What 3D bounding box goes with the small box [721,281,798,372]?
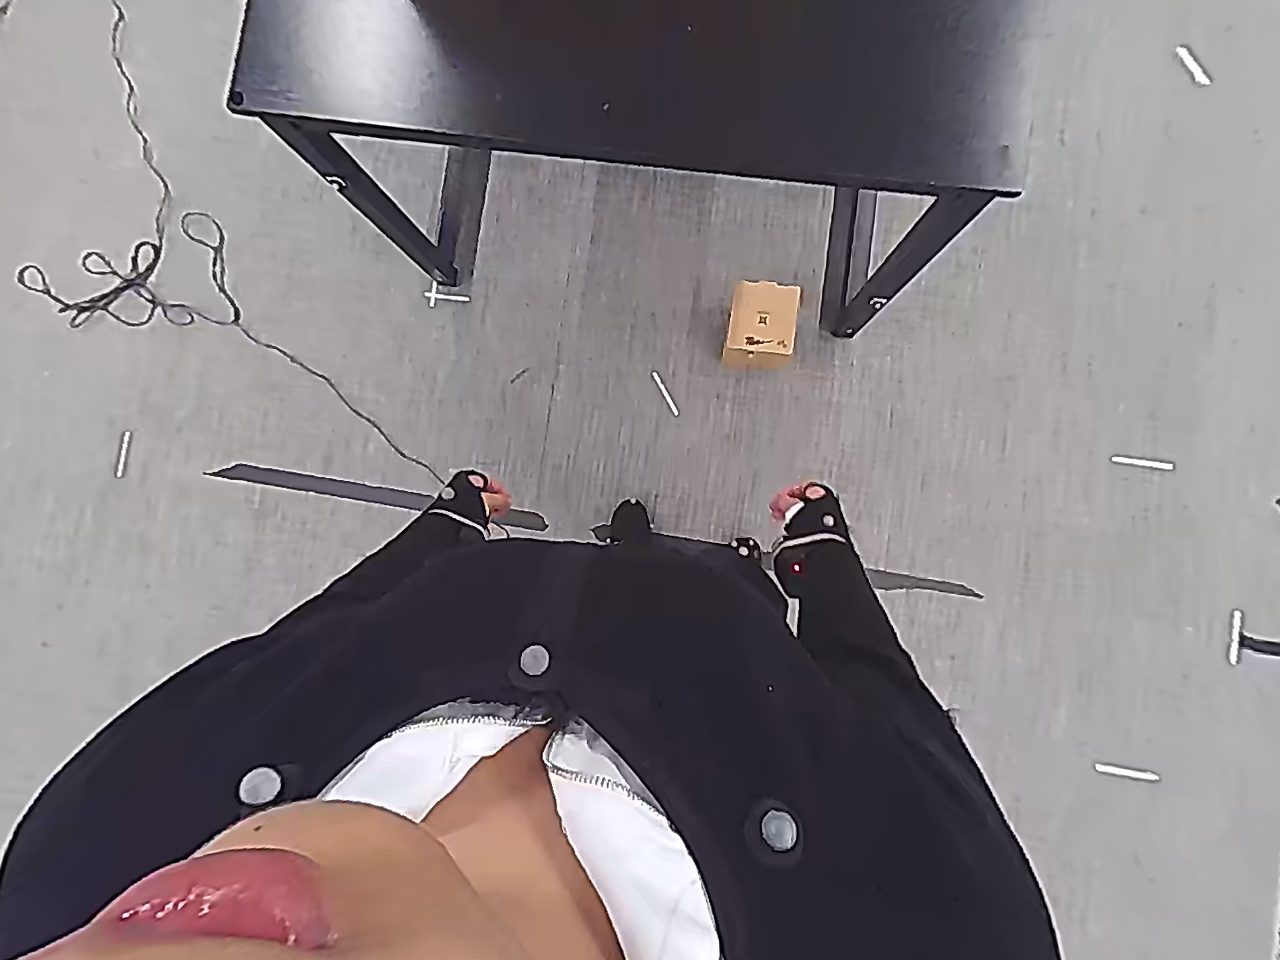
[{"bbox_3d":[0.309,-0.399,1.428,0.168,0.176,0.179,7,87,5],"label":"small box"}]
